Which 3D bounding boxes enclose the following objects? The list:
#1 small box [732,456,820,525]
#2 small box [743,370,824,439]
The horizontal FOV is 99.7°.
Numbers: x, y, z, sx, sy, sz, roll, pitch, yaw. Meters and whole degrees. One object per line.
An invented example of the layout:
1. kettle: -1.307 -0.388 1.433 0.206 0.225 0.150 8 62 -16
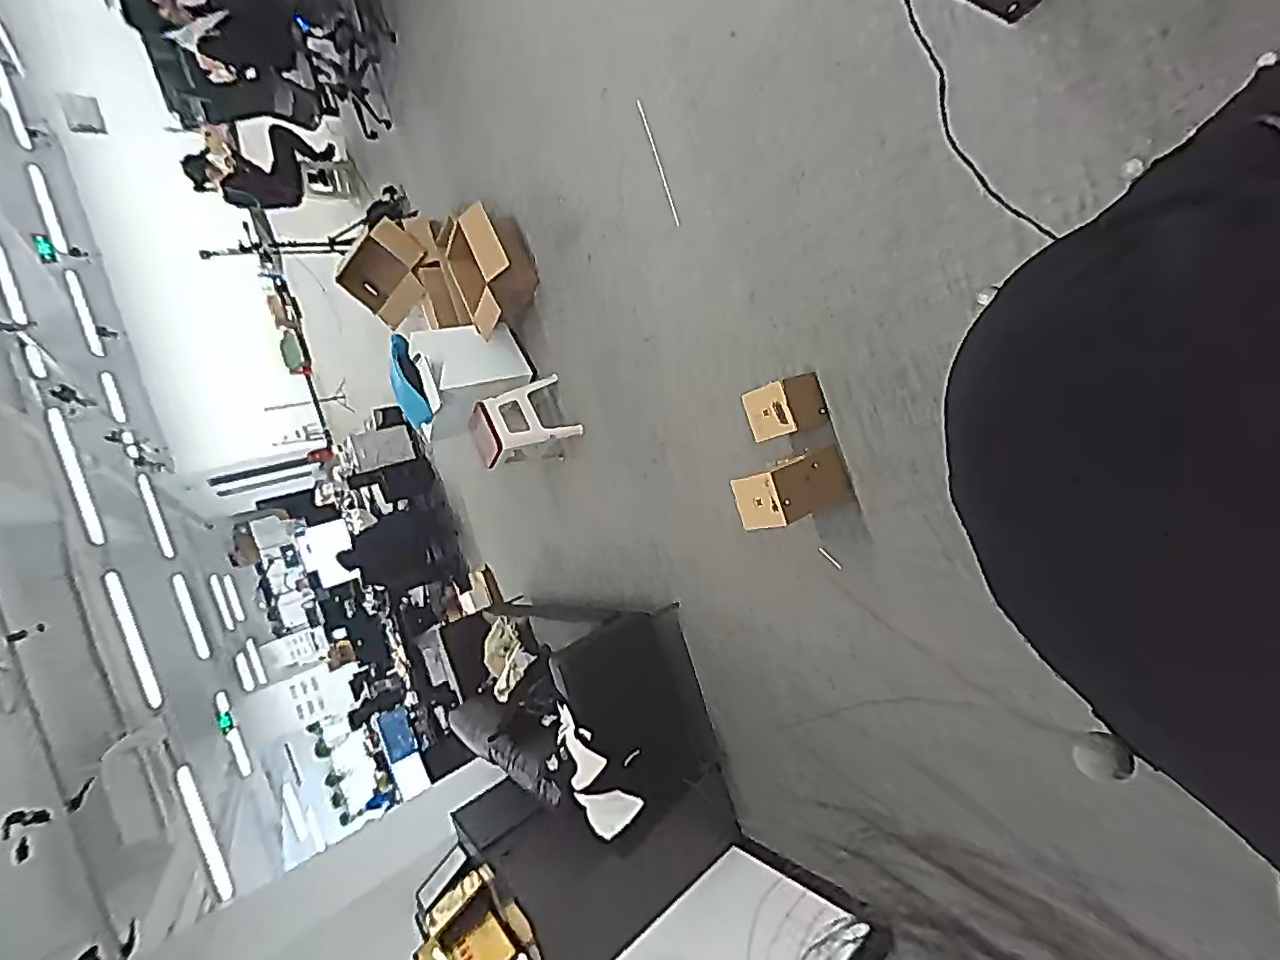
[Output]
1. small box: 0.418 0.034 1.667 0.179 0.176 0.168 -14 94 57
2. small box: 0.471 -0.245 1.748 0.179 0.176 0.168 -16 92 56
